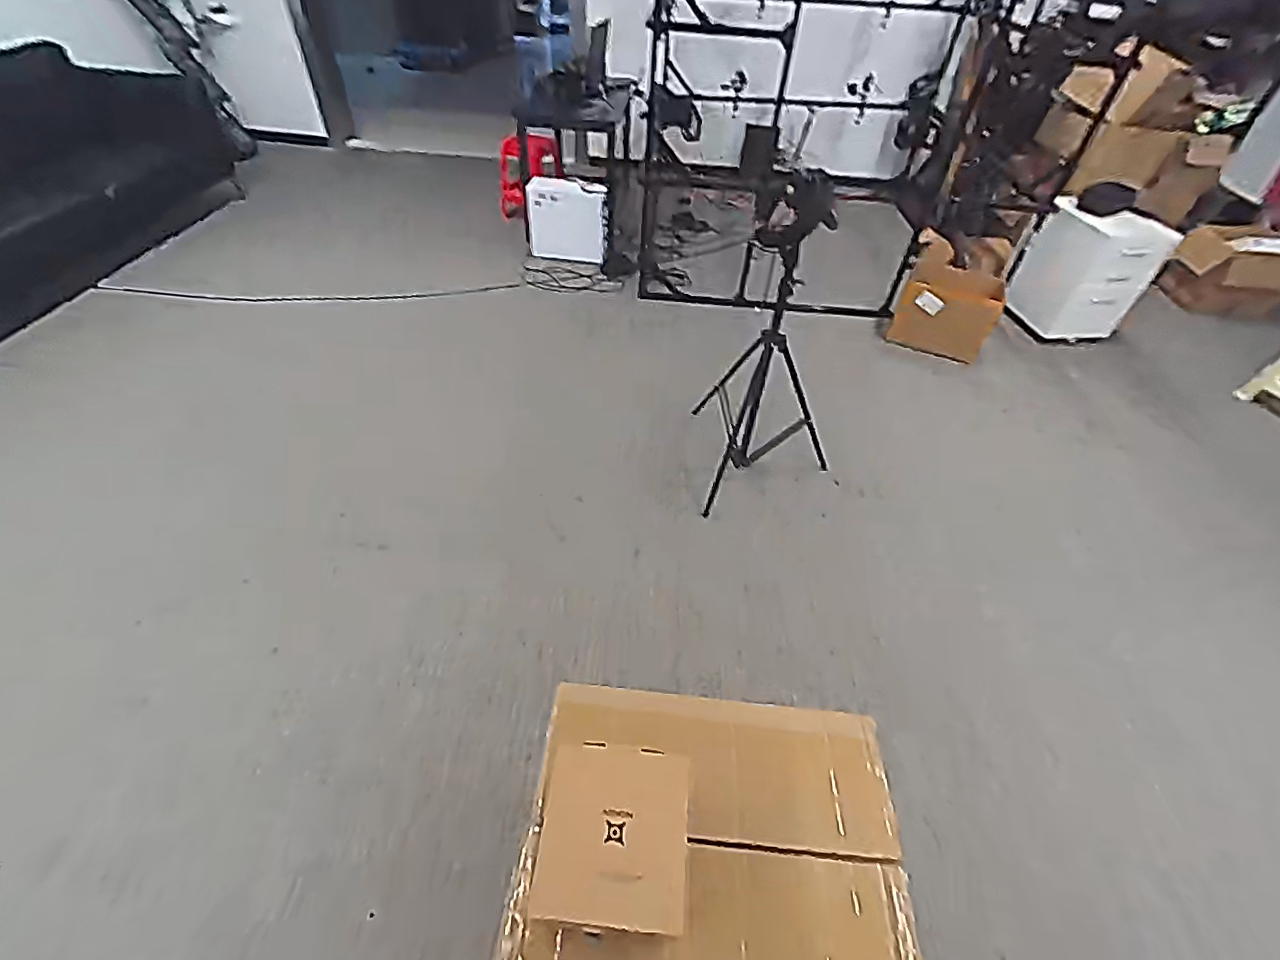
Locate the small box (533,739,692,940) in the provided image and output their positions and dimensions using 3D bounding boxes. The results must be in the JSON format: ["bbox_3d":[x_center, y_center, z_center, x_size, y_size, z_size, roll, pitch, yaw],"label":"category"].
[{"bbox_3d":[-0.029,0.448,0.674,0.168,0.176,0.179,5,48,2],"label":"small box"}]
